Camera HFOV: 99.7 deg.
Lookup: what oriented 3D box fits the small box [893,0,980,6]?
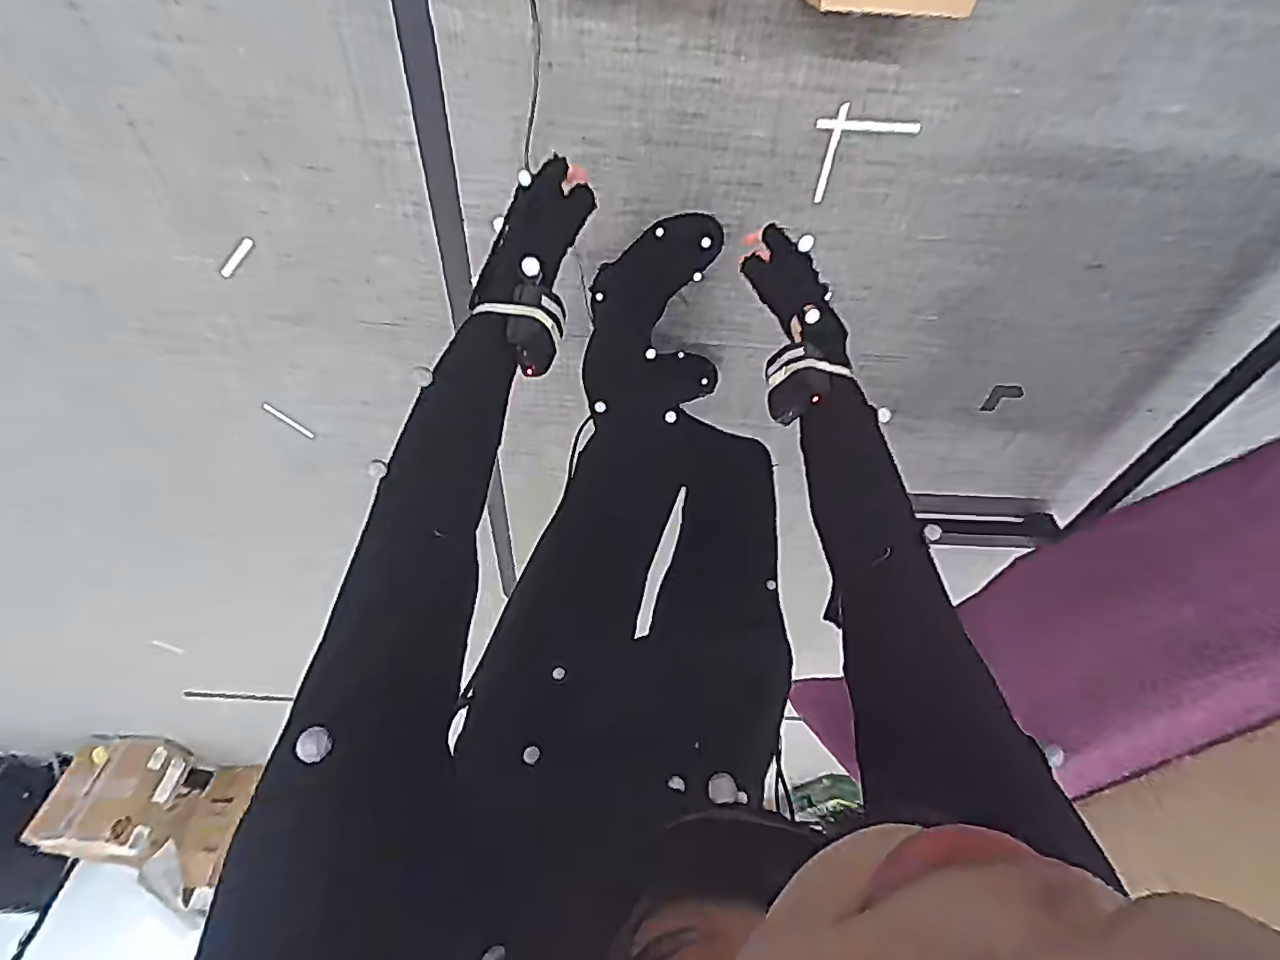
[{"bbox_3d":[0.279,-0.619,0.558,0.168,0.176,0.179,2,138,-1],"label":"small box"}]
